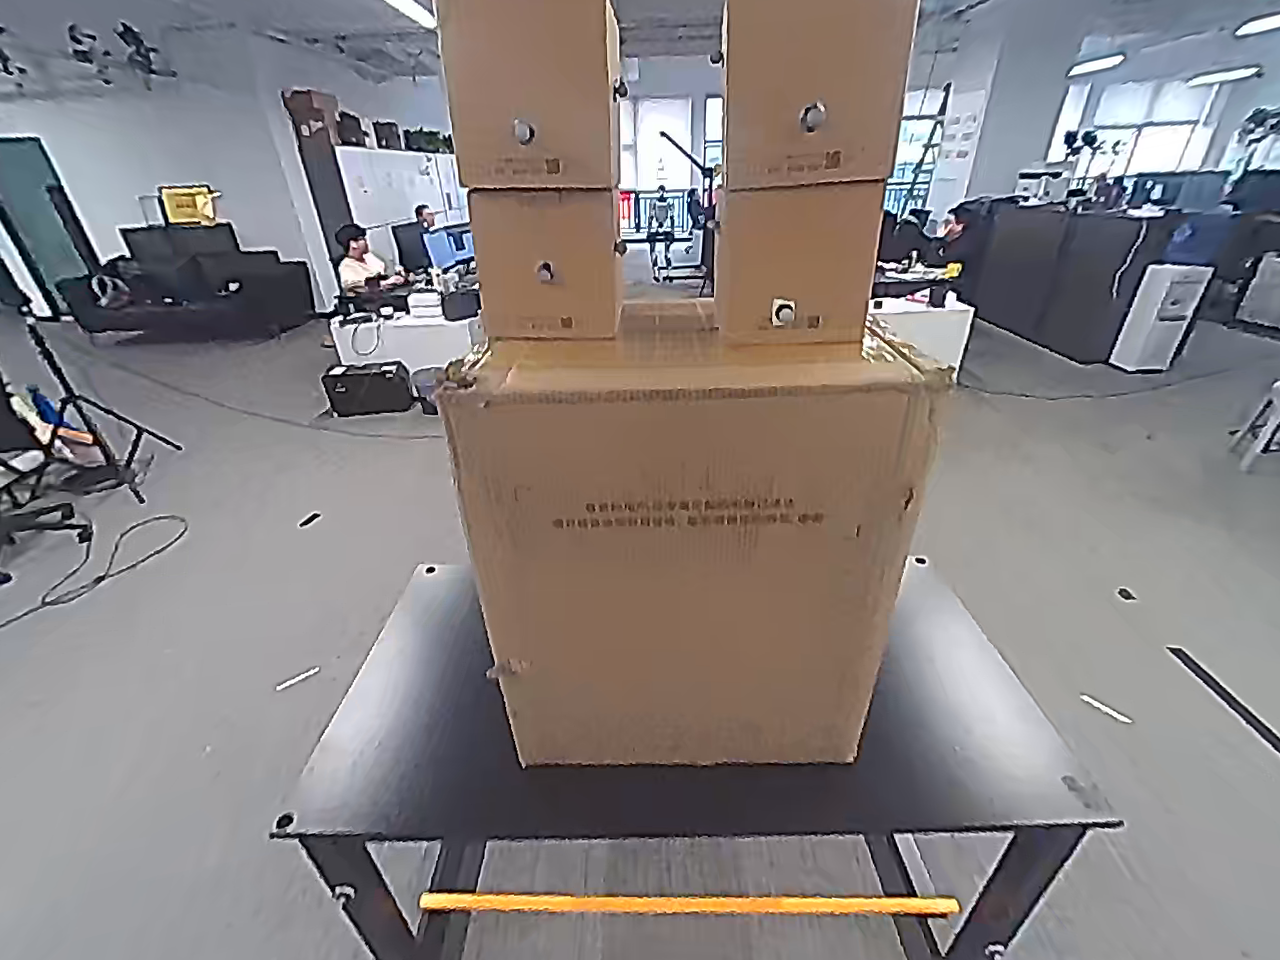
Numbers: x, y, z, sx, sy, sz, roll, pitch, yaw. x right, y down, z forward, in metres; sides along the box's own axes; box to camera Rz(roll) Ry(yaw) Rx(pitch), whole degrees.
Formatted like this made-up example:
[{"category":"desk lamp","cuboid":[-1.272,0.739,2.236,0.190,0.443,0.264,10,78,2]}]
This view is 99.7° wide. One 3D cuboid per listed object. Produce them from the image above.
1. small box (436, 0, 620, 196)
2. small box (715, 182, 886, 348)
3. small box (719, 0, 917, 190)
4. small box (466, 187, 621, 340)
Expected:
[{"category":"small box","cuboid":[-0.110,-0.423,0.615,0.168,0.176,0.179,0,30,2]},{"category":"small box","cuboid":[0.179,-0.269,0.667,0.168,0.176,0.179,-2,31,5]},{"category":"small box","cuboid":[0.171,-0.408,0.578,0.168,0.176,0.179,-1,30,7]},{"category":"small box","cuboid":[-0.112,-0.287,0.711,0.168,0.176,0.179,0,30,0]}]
